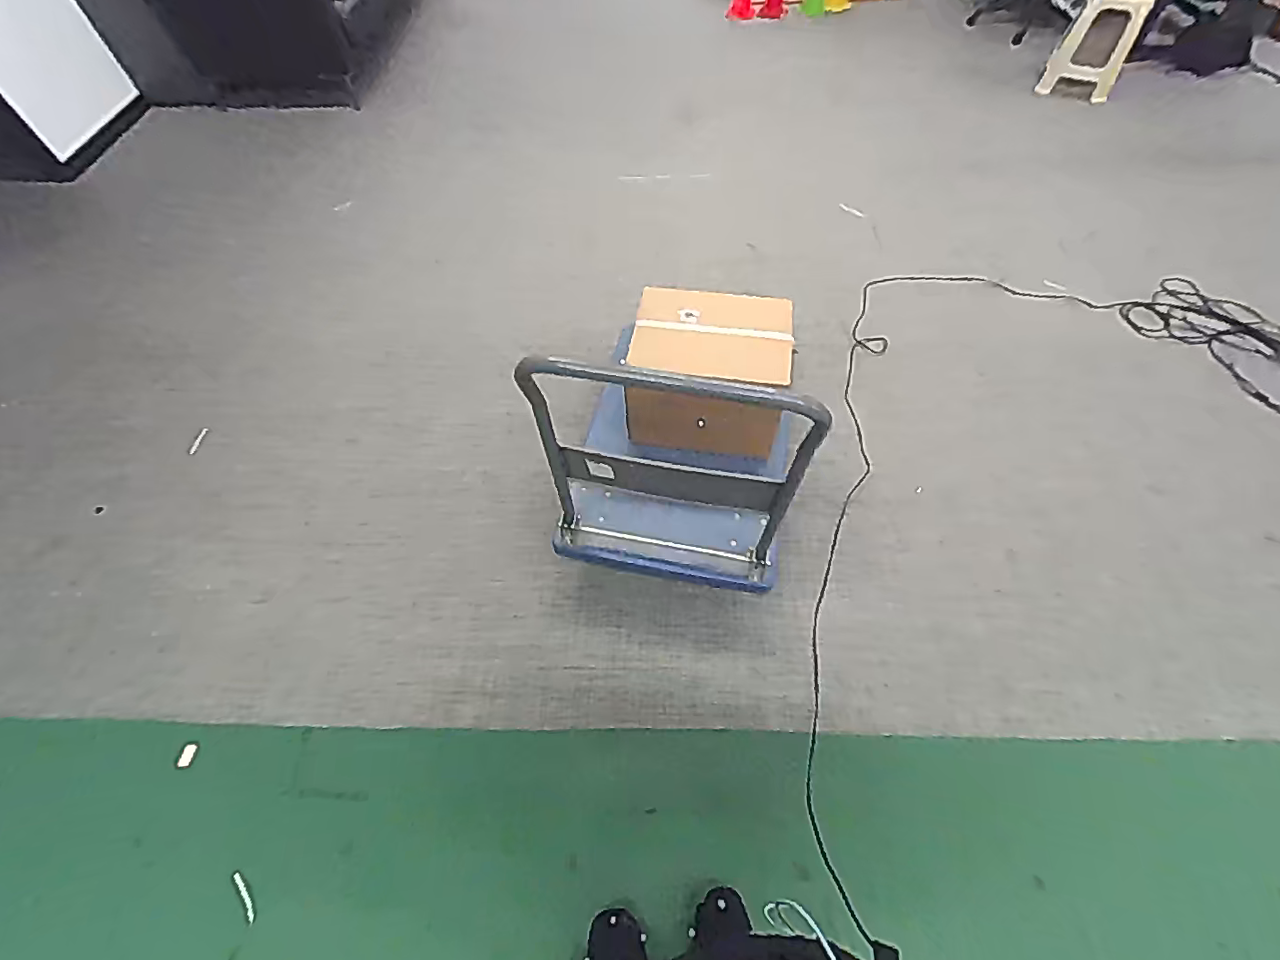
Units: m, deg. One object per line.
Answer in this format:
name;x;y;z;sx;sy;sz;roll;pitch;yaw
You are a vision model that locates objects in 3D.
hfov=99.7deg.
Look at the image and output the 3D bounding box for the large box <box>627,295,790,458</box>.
large box;0.193;-0.286;1.521;0.408;0.320;0.320;7;57;7
